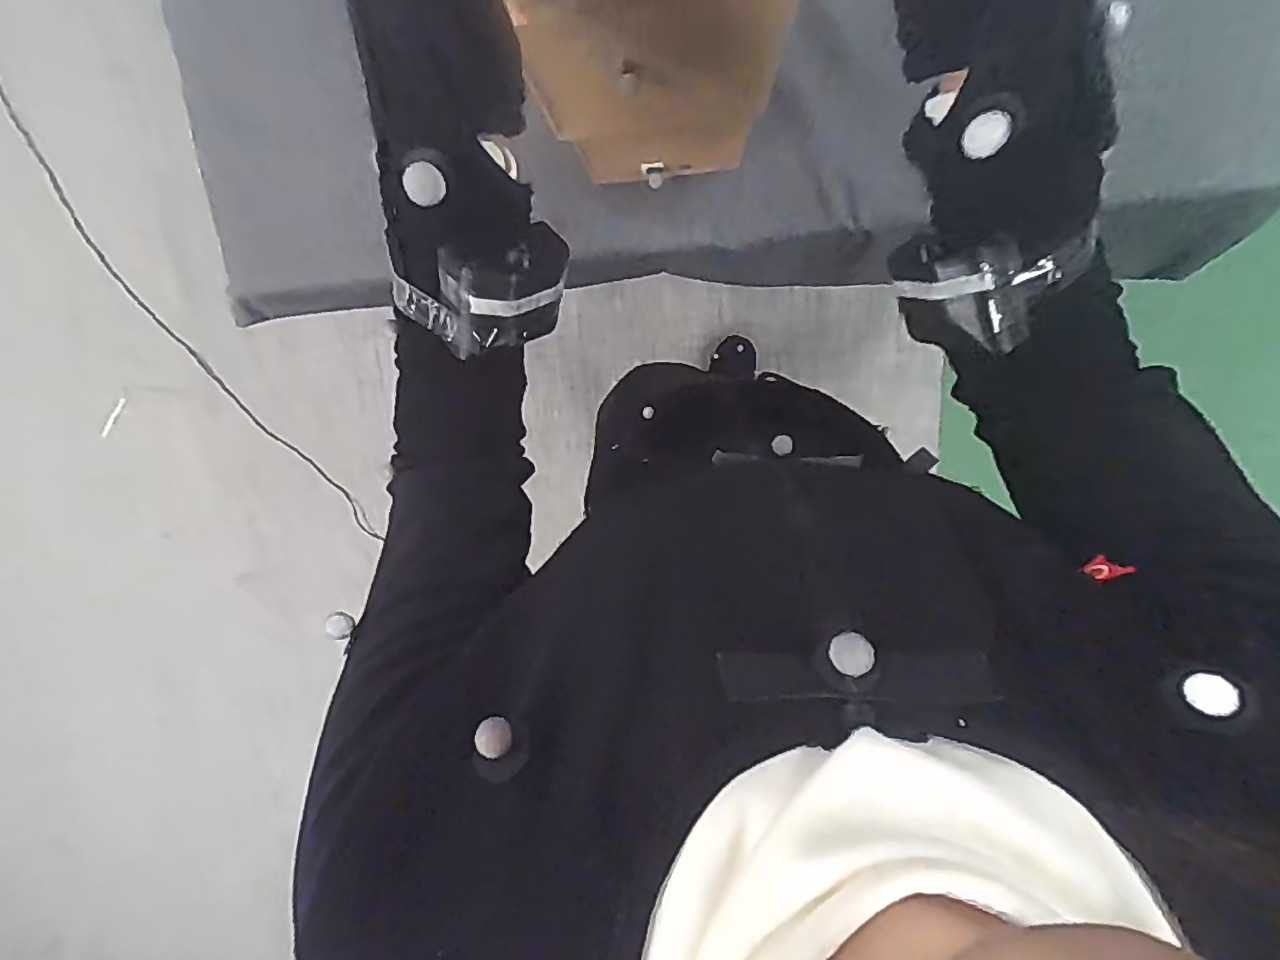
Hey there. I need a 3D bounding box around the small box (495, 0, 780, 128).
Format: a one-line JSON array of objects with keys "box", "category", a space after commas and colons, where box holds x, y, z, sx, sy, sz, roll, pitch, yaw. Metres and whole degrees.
[{"box": [0.001, -0.370, 0.365, 0.179, 0.176, 0.168, -5, 99, 6], "category": "small box"}]

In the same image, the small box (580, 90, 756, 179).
[{"box": [0.016, -0.419, 0.518, 0.168, 0.176, 0.179, -5, 103, 7], "category": "small box"}]
